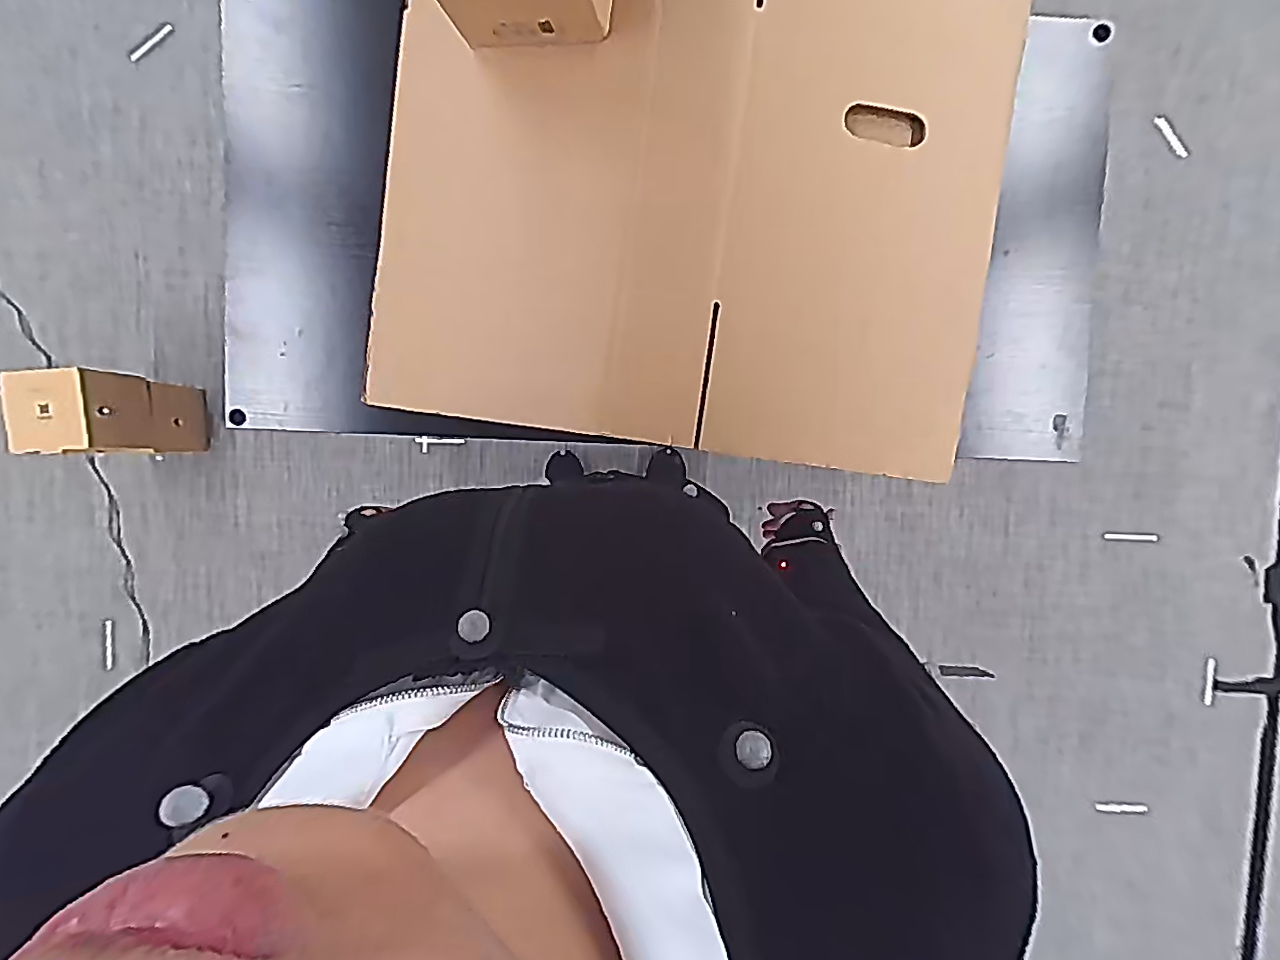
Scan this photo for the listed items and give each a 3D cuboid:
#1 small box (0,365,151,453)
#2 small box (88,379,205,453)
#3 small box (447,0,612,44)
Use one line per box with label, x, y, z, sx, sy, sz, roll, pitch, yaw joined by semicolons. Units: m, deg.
small box;-1.255;-0.154;1.215;0.168;0.176;0.179;-5;93;-2
small box;-1.257;-0.158;1.377;0.168;0.176;0.179;-2;94;-1
small box;-0.117;-0.550;0.493;0.168;0.176;0.179;9;92;13
